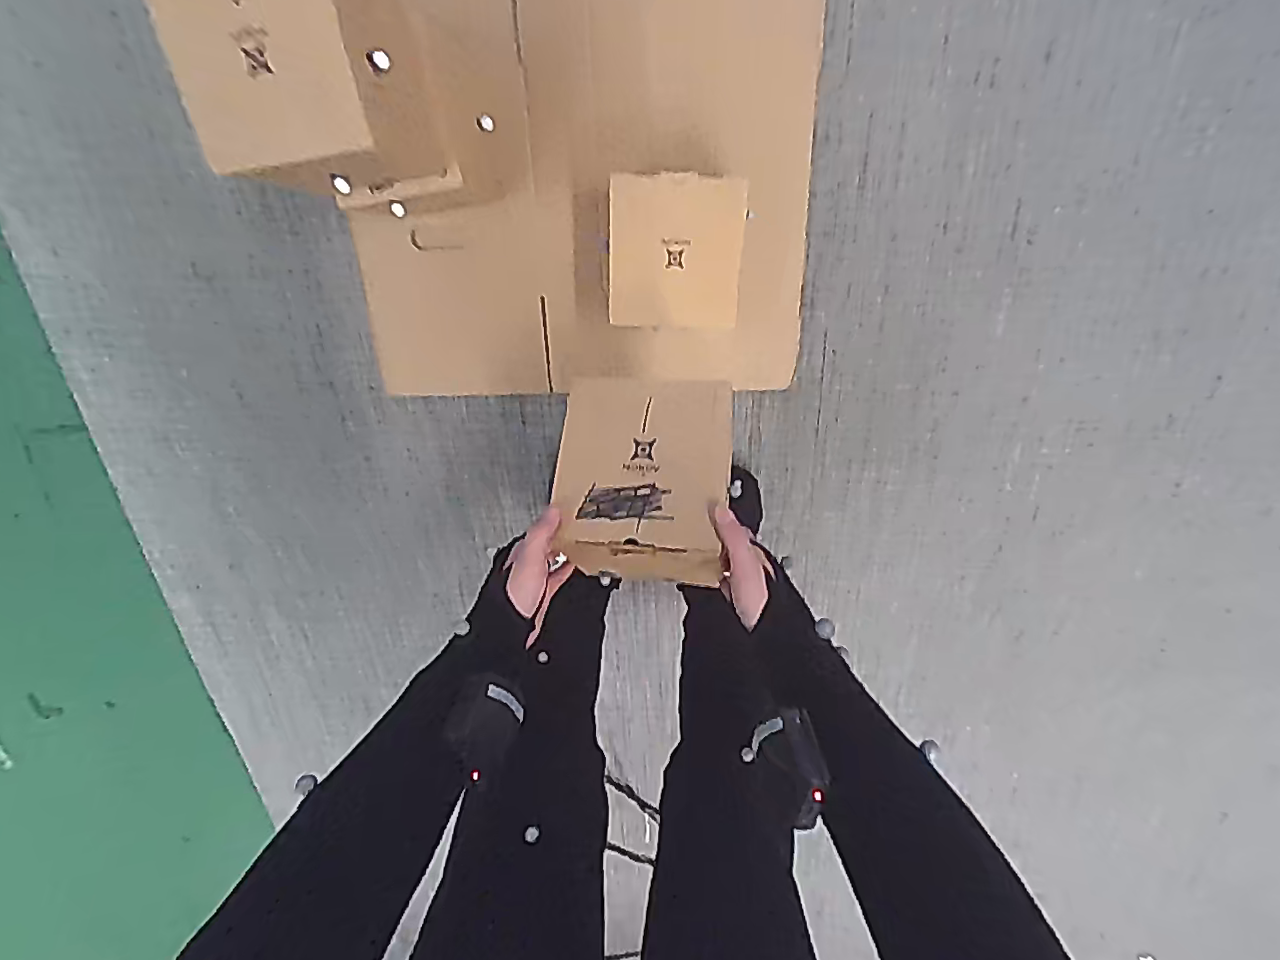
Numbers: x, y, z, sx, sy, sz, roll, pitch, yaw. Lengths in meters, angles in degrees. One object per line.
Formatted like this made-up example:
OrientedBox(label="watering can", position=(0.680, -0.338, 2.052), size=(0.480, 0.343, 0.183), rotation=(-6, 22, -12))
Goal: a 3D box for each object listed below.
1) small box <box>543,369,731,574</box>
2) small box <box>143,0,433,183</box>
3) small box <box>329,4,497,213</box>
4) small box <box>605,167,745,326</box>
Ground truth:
OrientedBox(label="small box", position=(0.011, -0.001, 0.587), size=(0.168, 0.176, 0.179), rotation=(4, 70, 10))
OrientedBox(label="small box", position=(-0.332, -0.408, 0.542), size=(0.168, 0.176, 0.179), rotation=(-6, 112, 5))
OrientedBox(label="small box", position=(-0.301, -0.459, 0.698), size=(0.168, 0.176, 0.179), rotation=(-7, 112, 6))
OrientedBox(label="small box", position=(0.045, -0.312, 0.733), size=(0.168, 0.176, 0.179), rotation=(3, 112, 3))
